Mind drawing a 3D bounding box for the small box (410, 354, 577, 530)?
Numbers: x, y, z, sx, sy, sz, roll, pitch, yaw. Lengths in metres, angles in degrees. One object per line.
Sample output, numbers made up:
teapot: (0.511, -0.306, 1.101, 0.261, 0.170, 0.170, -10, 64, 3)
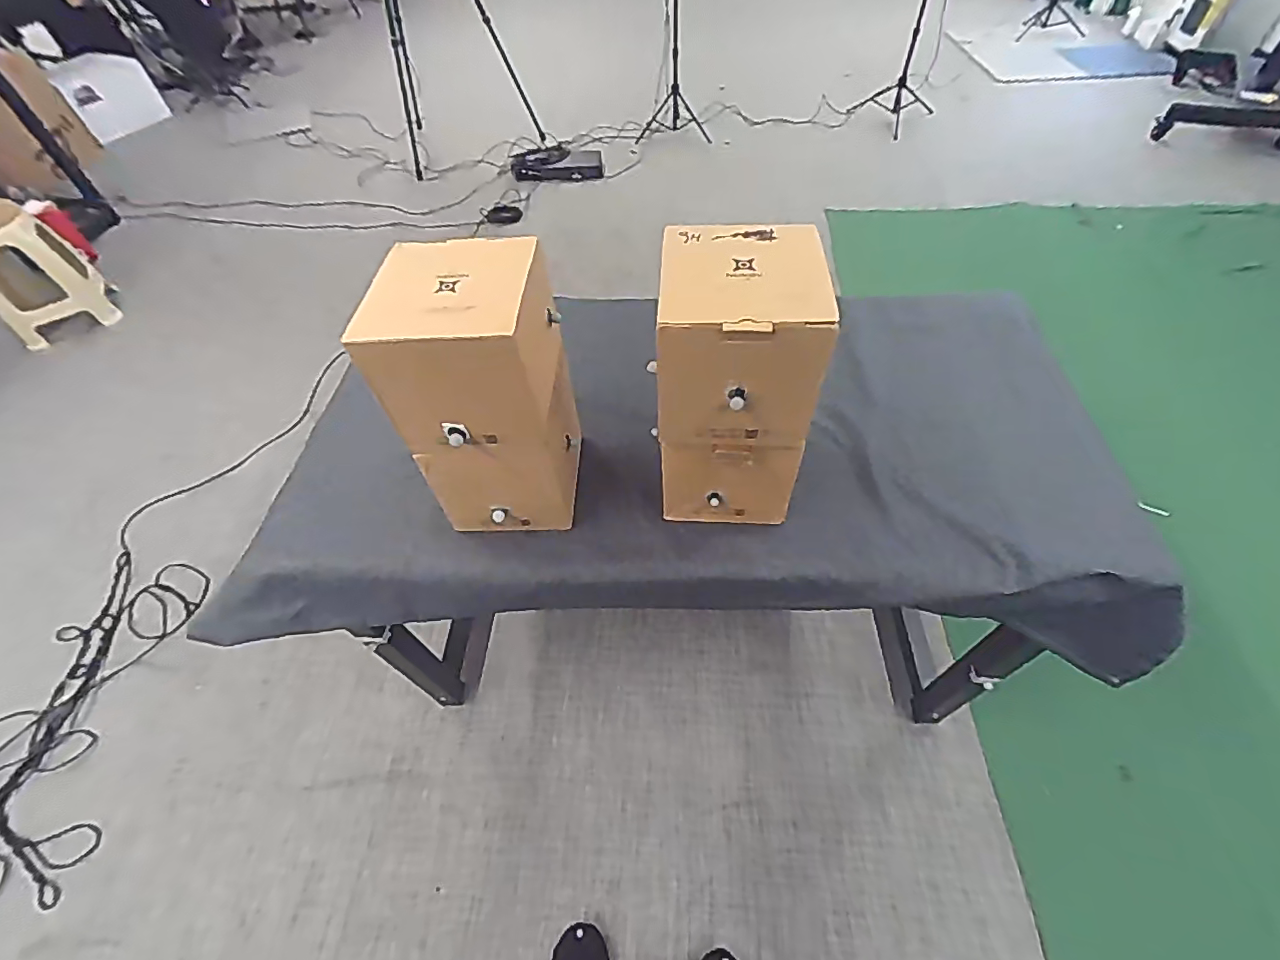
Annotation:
small box: (-0.180, -0.050, 0.732, 0.168, 0.176, 0.179, -1, 53, 3)

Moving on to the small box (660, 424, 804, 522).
small box: (0.113, -0.064, 0.728, 0.168, 0.176, 0.179, 2, 53, 4)

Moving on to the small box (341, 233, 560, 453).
small box: (-0.188, -0.149, 0.603, 0.168, 0.176, 0.179, -2, 53, 3)

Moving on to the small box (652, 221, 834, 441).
small box: (0.103, -0.158, 0.595, 0.168, 0.176, 0.179, 2, 54, 4)
